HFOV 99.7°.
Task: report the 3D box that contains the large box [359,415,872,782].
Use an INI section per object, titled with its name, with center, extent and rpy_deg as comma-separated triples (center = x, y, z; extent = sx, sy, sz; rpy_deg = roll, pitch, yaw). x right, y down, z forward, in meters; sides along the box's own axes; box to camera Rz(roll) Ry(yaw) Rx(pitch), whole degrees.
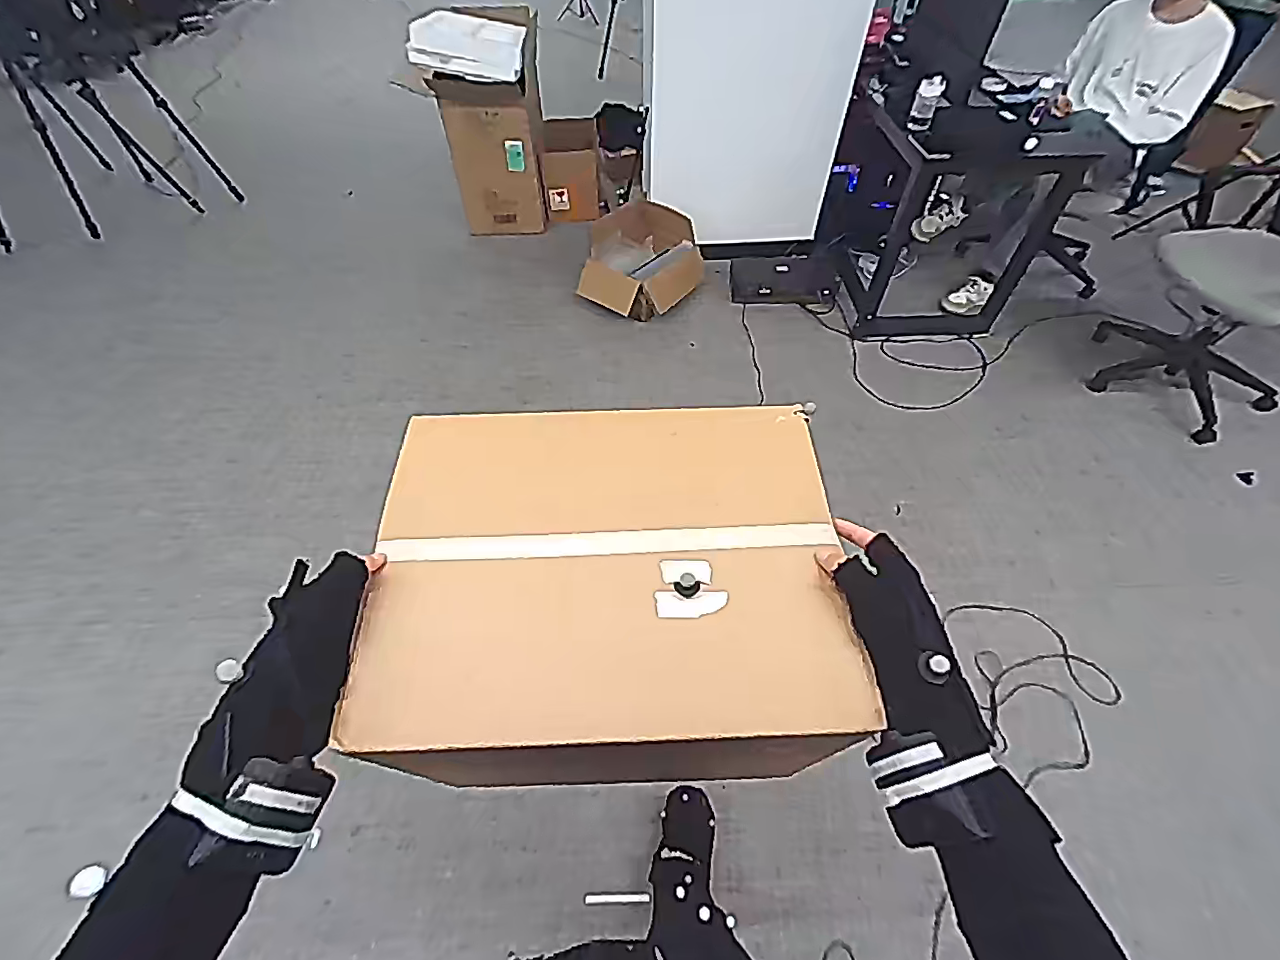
[large box]
center = -0.024, 0.145, 0.618
extent = 0.408, 0.320, 0.320
rpy_deg = -1, 56, -1
